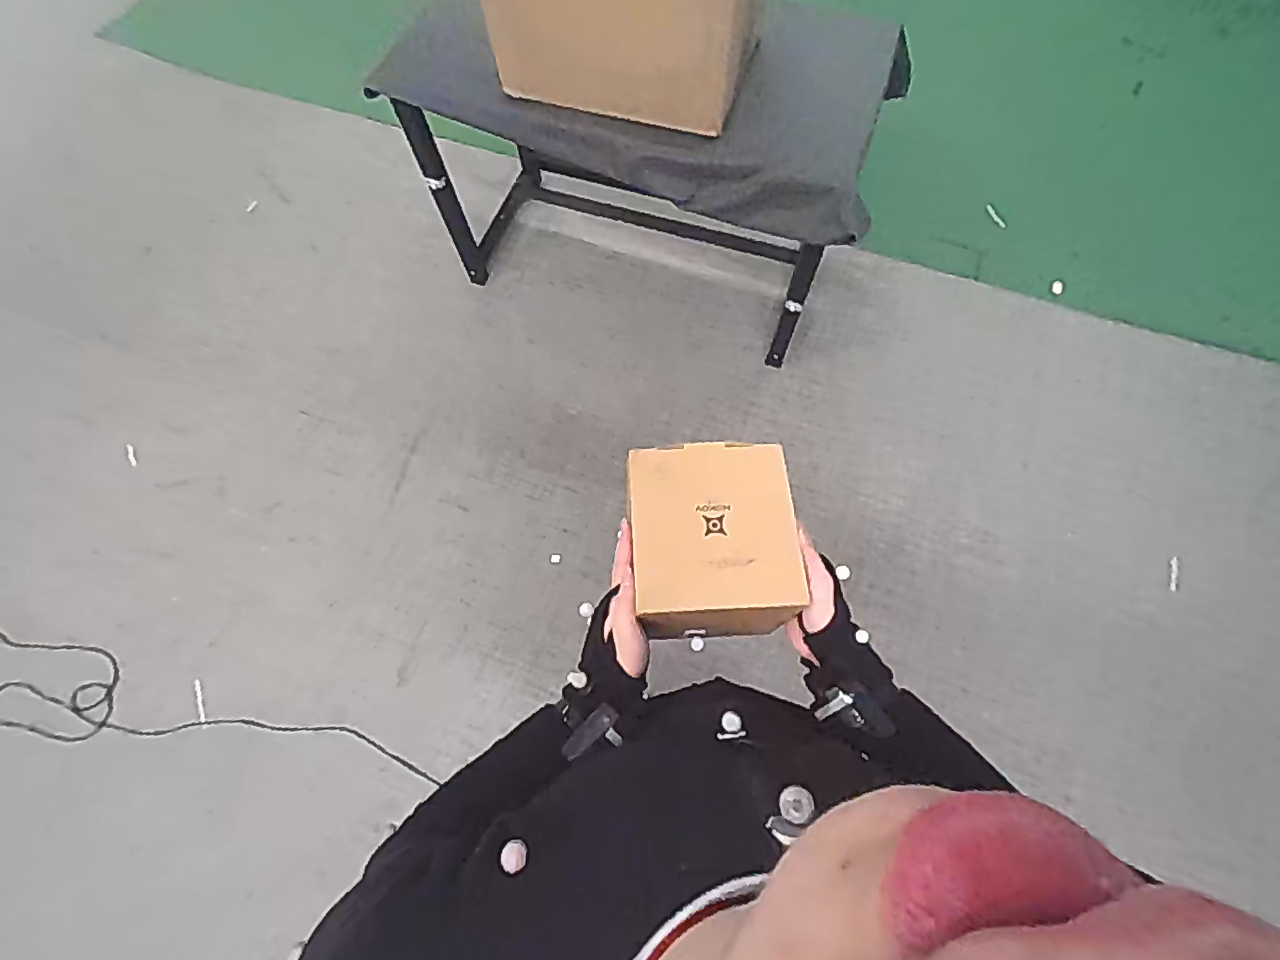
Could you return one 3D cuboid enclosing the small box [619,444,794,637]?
[{"bbox_3d":[0.060,0.075,0.621,0.168,0.176,0.179,-2,66,-3],"label":"small box"}]
